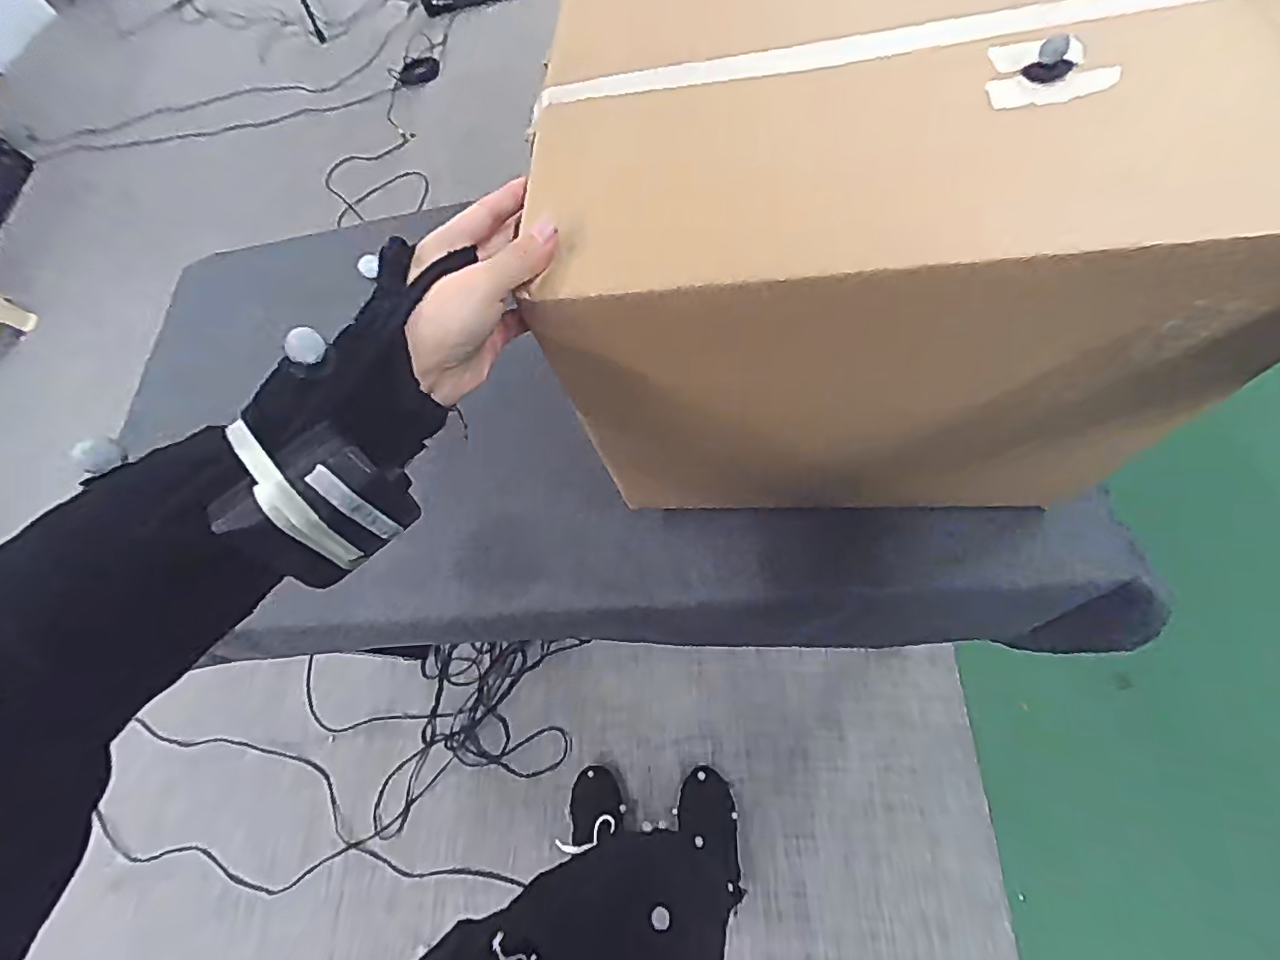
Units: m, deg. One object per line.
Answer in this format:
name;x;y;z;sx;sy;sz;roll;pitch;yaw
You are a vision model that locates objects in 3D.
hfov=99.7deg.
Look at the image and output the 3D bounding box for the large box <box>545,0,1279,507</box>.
large box;0.170;-0.177;0.447;0.408;0.320;0.320;-1;67;9
